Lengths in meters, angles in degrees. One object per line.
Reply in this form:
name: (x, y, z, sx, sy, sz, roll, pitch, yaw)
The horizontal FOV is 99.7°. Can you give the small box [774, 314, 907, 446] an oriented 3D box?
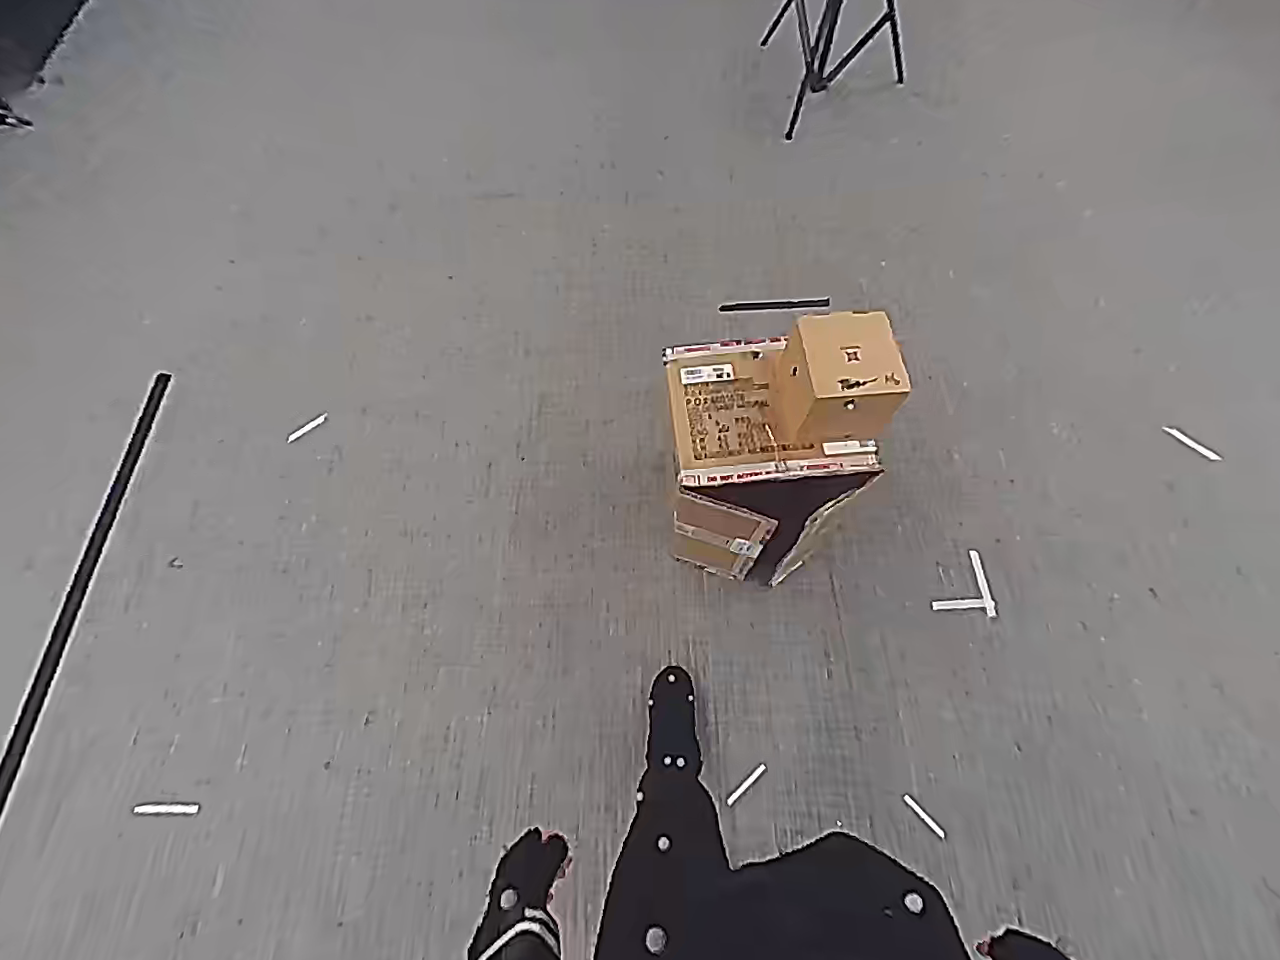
small box: (0.358, -0.183, 1.005, 0.168, 0.176, 0.179, -4, 65, -2)
